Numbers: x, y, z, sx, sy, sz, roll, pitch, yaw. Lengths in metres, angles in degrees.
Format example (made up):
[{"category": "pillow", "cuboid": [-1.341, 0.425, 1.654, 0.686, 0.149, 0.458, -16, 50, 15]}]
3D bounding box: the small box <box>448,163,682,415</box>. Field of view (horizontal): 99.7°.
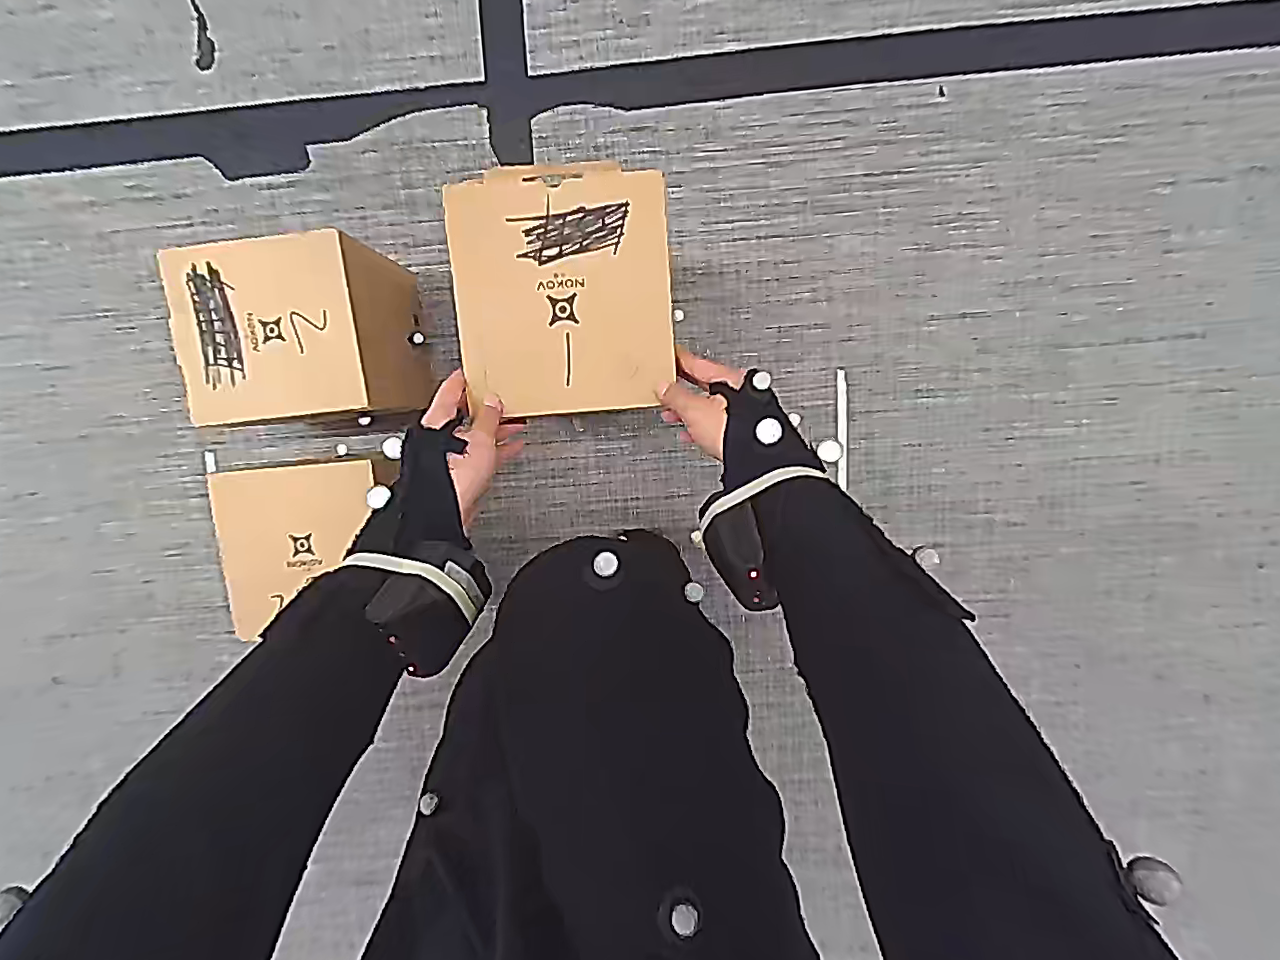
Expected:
[{"category": "small box", "cuboid": [-0.056, -0.150, 0.480, 0.168, 0.176, 0.179, -4, 98, 0]}]
